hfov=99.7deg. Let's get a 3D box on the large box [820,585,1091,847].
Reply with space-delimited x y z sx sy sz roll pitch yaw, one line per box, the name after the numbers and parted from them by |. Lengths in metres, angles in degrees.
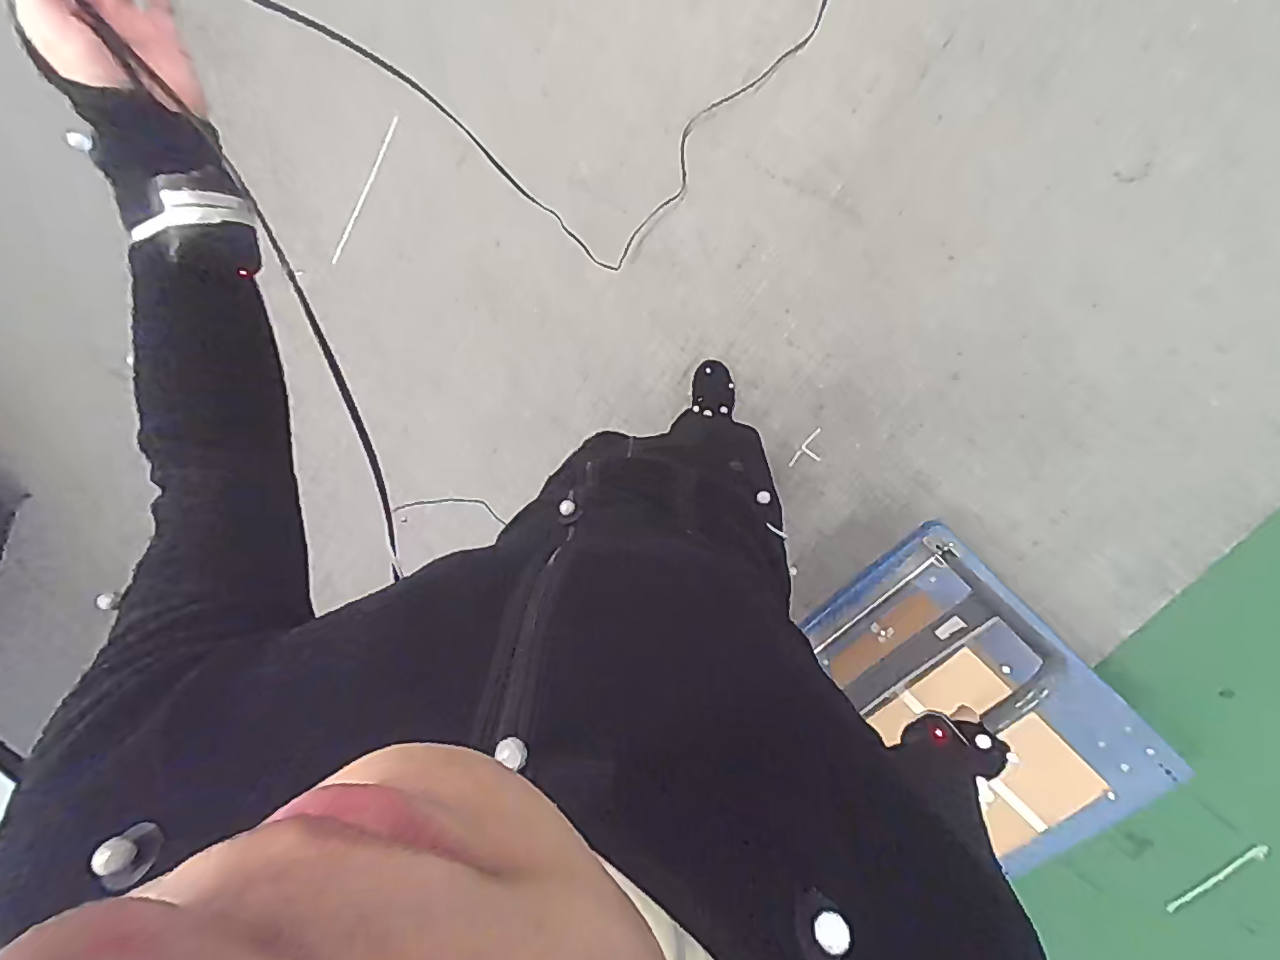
0.696 0.529 1.276 0.408 0.320 0.320 45 106 0 | large box
